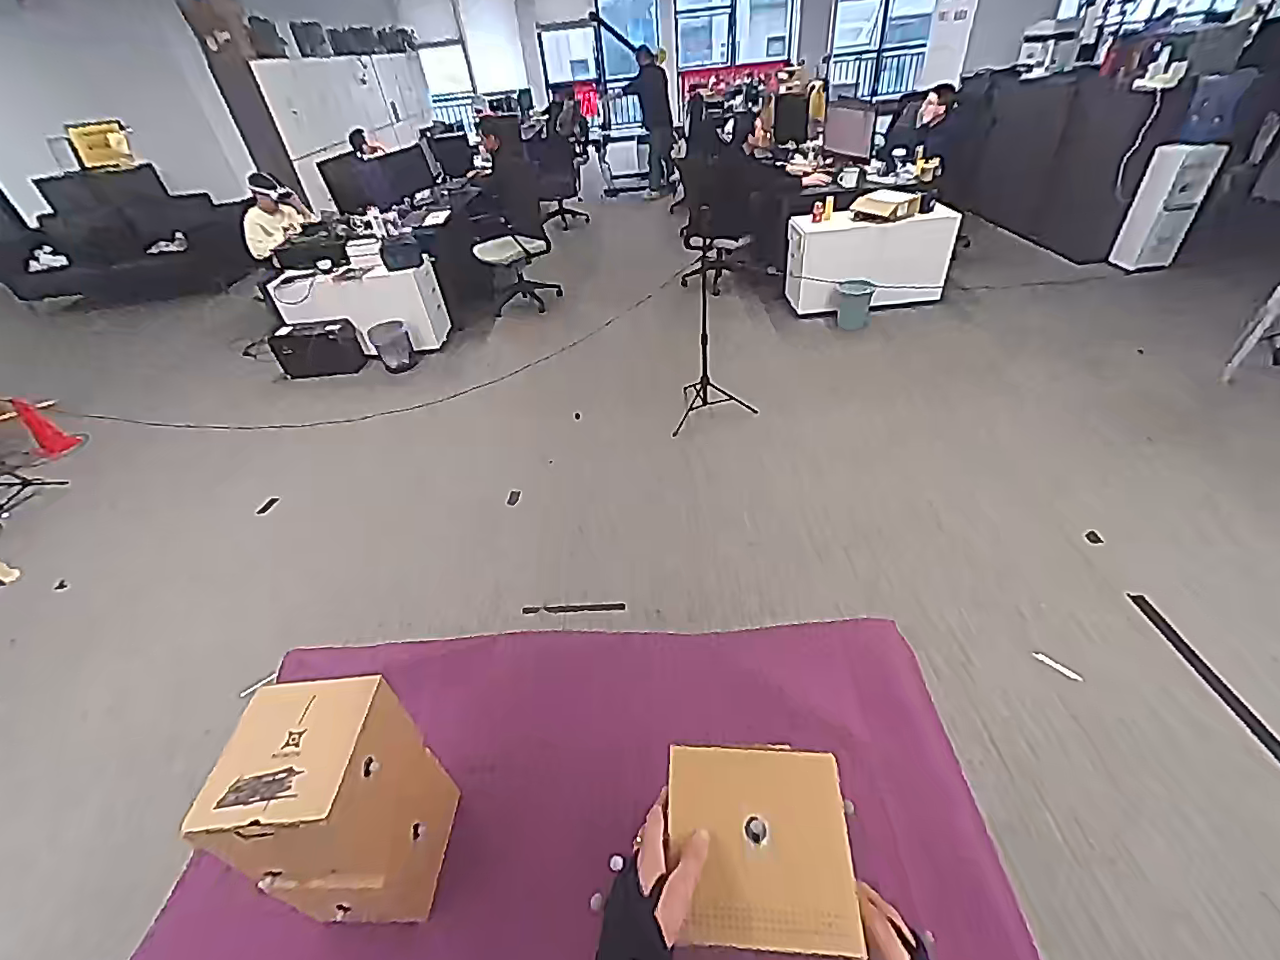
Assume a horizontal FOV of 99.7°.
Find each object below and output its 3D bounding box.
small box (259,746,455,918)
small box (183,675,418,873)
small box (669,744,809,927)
[{"bbox_3d":[-0.390,0.512,0.787,0.168,0.176,0.179,-2,39,4],"label":"small box"},{"bbox_3d":[-0.408,0.378,0.693,0.168,0.176,0.179,-5,39,1],"label":"small box"},{"bbox_3d":[0.129,0.490,0.746,0.168,0.176,0.179,-3,38,5],"label":"small box"}]
